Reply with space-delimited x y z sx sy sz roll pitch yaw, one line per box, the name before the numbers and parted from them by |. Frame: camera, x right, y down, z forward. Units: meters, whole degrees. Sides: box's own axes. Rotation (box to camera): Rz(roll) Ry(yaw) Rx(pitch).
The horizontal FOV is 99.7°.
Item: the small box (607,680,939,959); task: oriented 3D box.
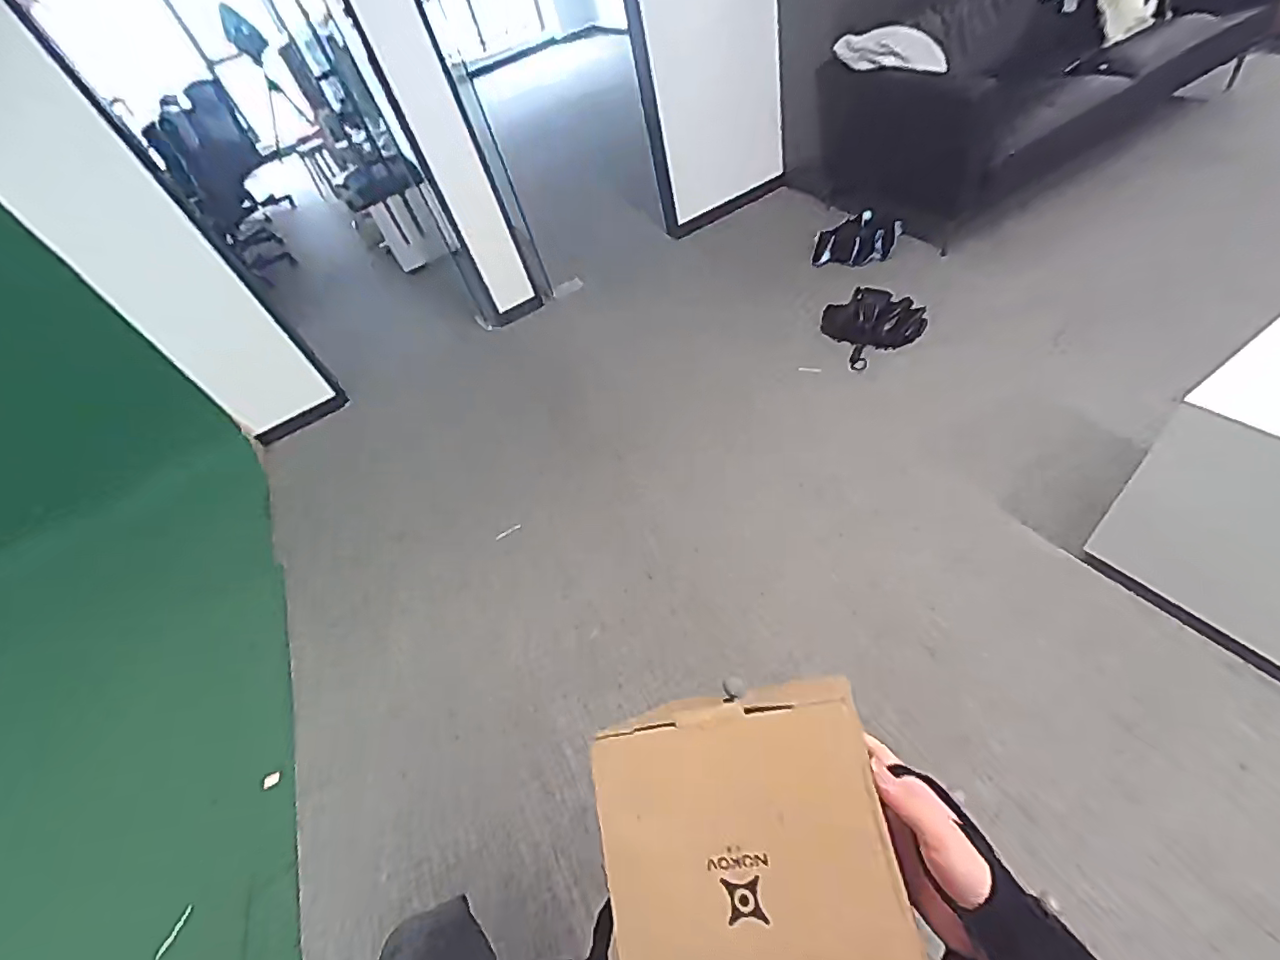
small box | 0.093 0.244 0.380 0.168 0.176 0.179 -17 70 15
